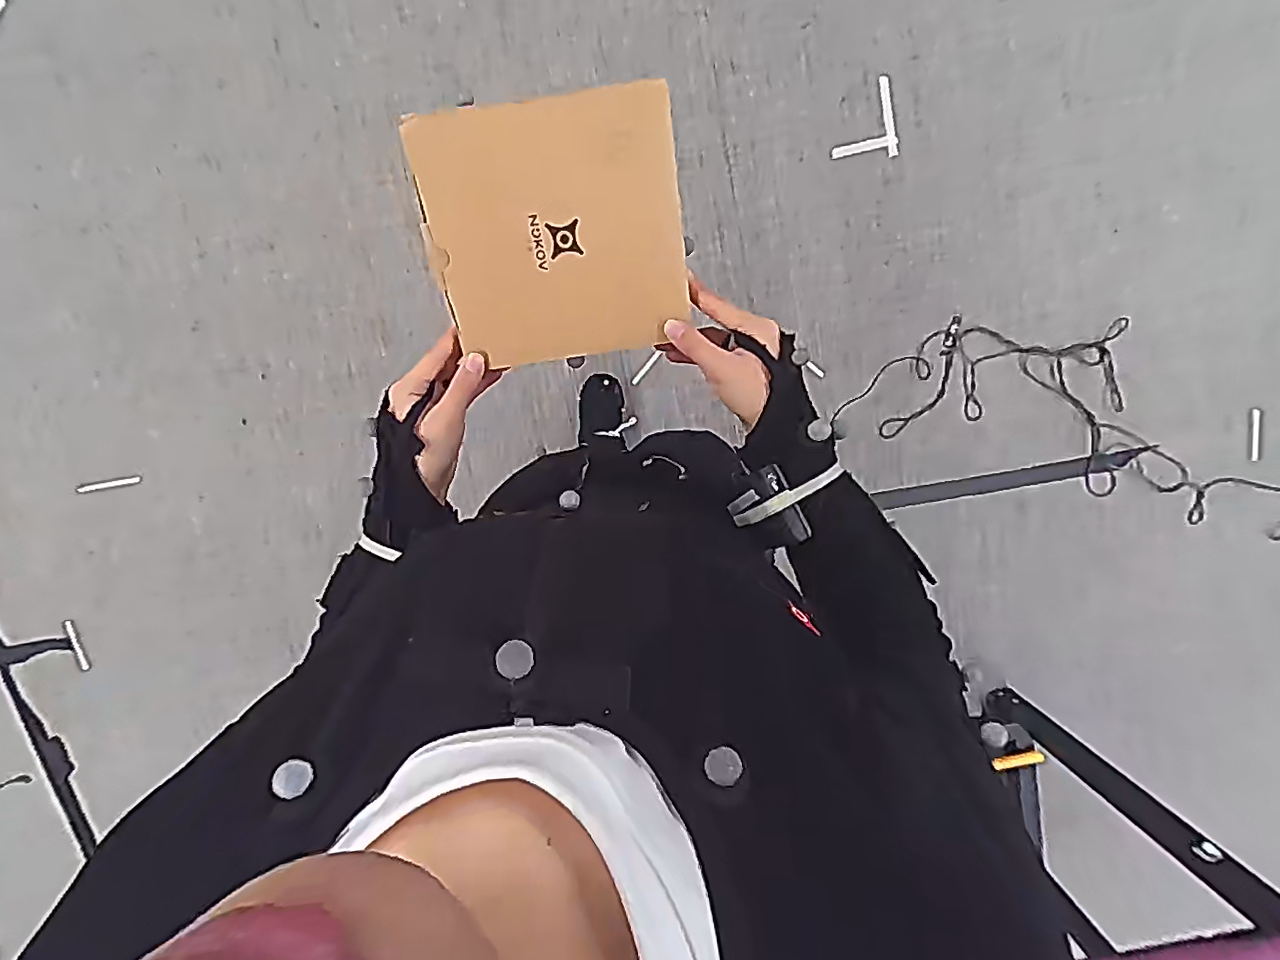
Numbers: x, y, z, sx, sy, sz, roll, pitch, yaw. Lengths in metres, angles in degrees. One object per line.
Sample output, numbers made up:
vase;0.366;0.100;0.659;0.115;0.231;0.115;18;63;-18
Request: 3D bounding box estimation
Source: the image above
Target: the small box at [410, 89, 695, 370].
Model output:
small box;-0.056;-0.203;0.450;0.179;0.176;0.168;-7;116;2
